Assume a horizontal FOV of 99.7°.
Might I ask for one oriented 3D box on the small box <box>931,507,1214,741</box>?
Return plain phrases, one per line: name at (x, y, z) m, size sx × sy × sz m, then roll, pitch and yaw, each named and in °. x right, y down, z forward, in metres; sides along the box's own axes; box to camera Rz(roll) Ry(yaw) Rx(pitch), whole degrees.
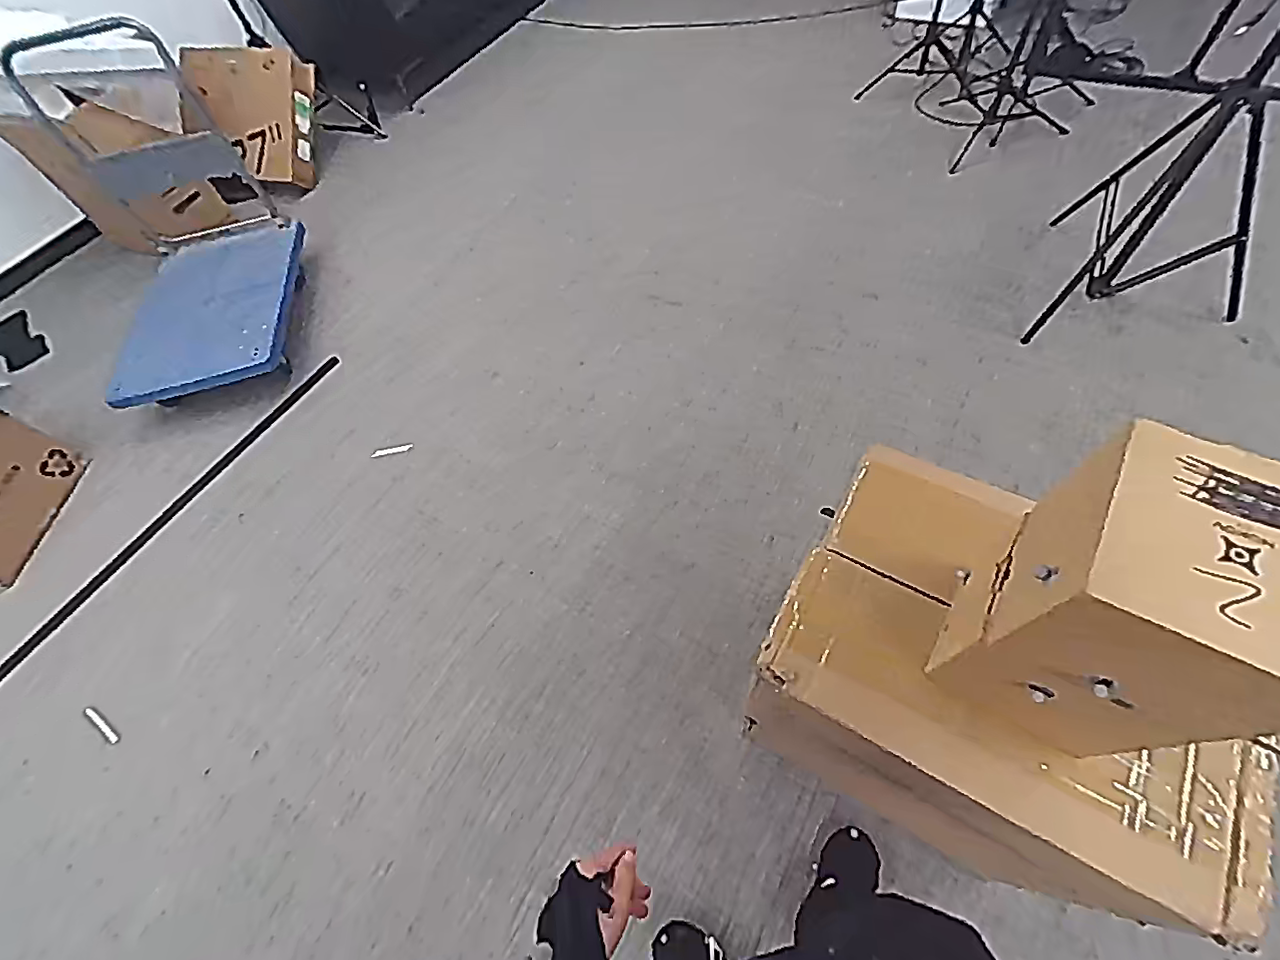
small box at (0.454, 0.165, 0.596) m, size 0.179 × 0.176 × 0.168 m, roll 27°, pitch 67°, yaw 21°
